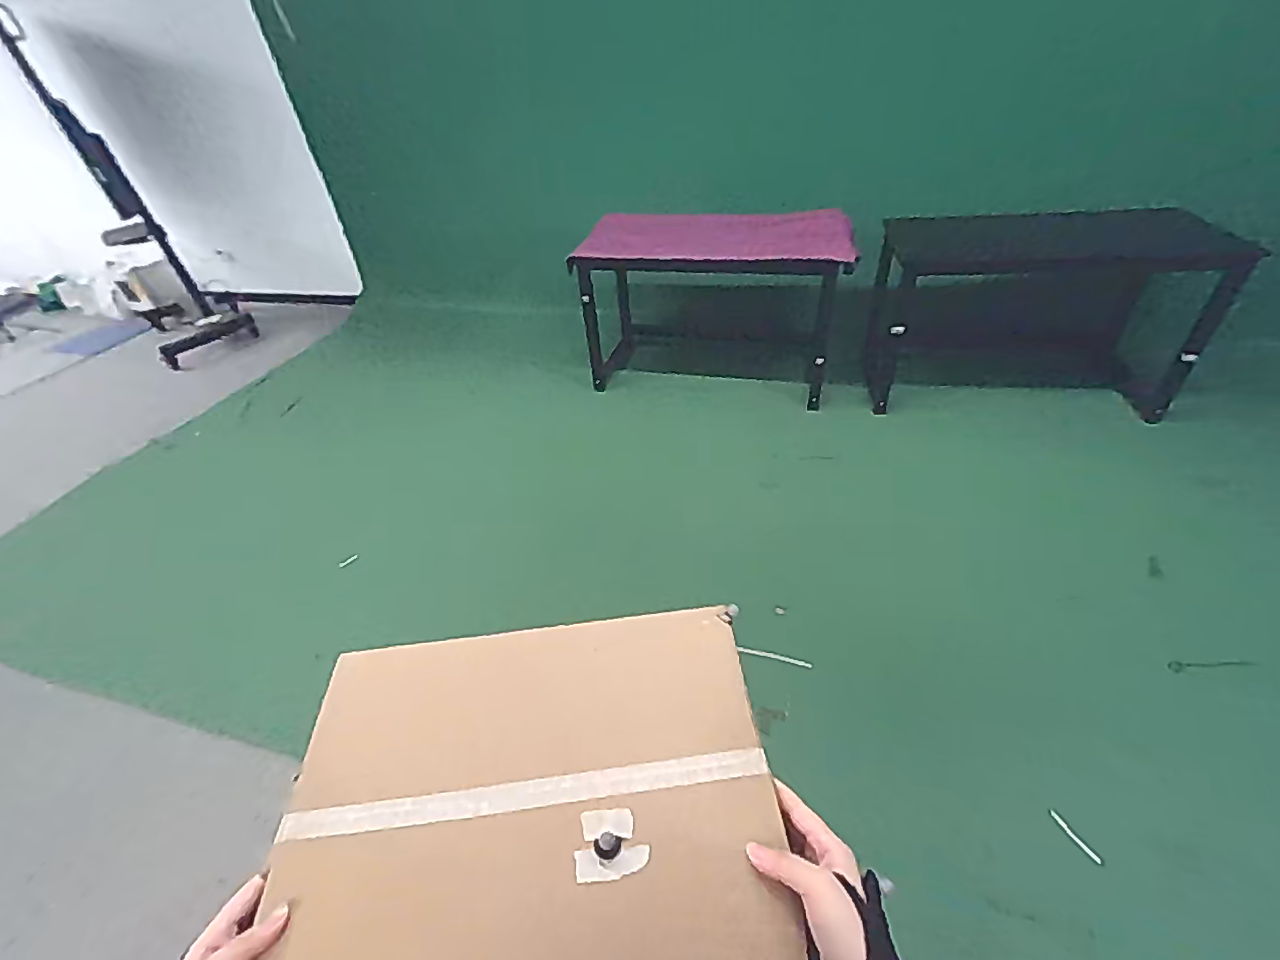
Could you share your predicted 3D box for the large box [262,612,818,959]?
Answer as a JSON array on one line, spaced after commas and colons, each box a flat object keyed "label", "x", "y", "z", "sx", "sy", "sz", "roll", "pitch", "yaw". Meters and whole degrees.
[{"label": "large box", "x": -0.082, "y": 0.376, "z": 0.568, "sx": 0.408, "sy": 0.320, "sz": 0.320, "roll": -6, "pitch": 44, "yaw": -3}]
